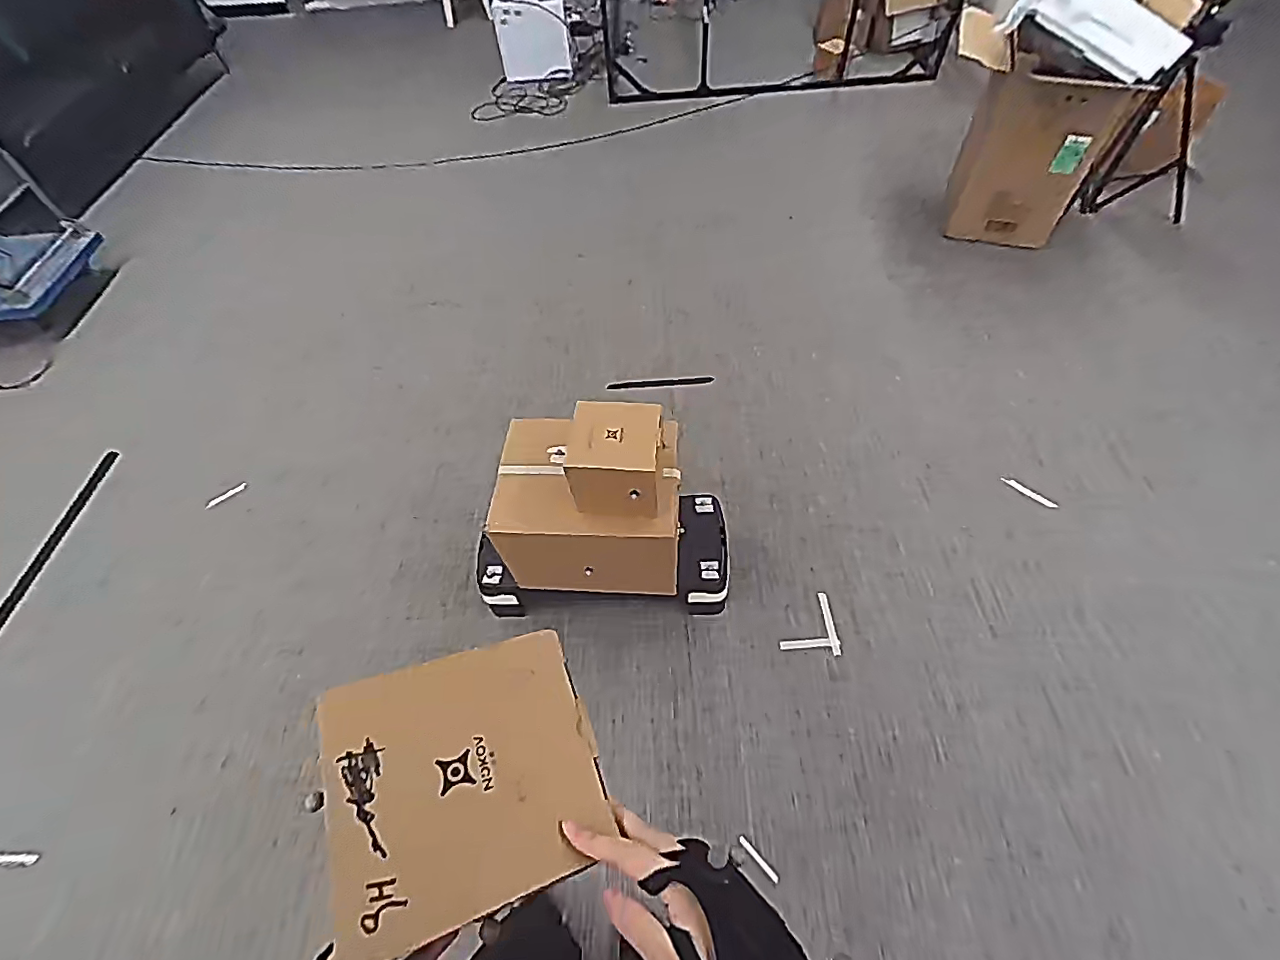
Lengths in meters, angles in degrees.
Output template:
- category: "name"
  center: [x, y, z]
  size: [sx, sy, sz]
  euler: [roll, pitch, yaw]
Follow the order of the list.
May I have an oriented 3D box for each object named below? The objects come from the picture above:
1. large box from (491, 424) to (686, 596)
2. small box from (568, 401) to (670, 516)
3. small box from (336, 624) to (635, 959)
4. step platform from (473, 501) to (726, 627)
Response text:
- category: "large box"
  center: [-0.094, 0.081, 1.314]
  size: [0.408, 0.320, 0.320]
  euler: [0, 55, 6]
- category: "small box"
  center: [-0.032, -0.039, 1.093]
  size: [0.179, 0.176, 0.168]
  euler: [3, 56, 7]
- category: "small box"
  center: [-0.128, 0.239, 0.425]
  size: [0.179, 0.176, 0.168]
  euler: [-7, 53, -25]
- category: "step platform"
  center: [-0.105, 0.219, 1.509]
  size: [0.684, 0.204, 0.286]
  euler: [2, 56, 7]
